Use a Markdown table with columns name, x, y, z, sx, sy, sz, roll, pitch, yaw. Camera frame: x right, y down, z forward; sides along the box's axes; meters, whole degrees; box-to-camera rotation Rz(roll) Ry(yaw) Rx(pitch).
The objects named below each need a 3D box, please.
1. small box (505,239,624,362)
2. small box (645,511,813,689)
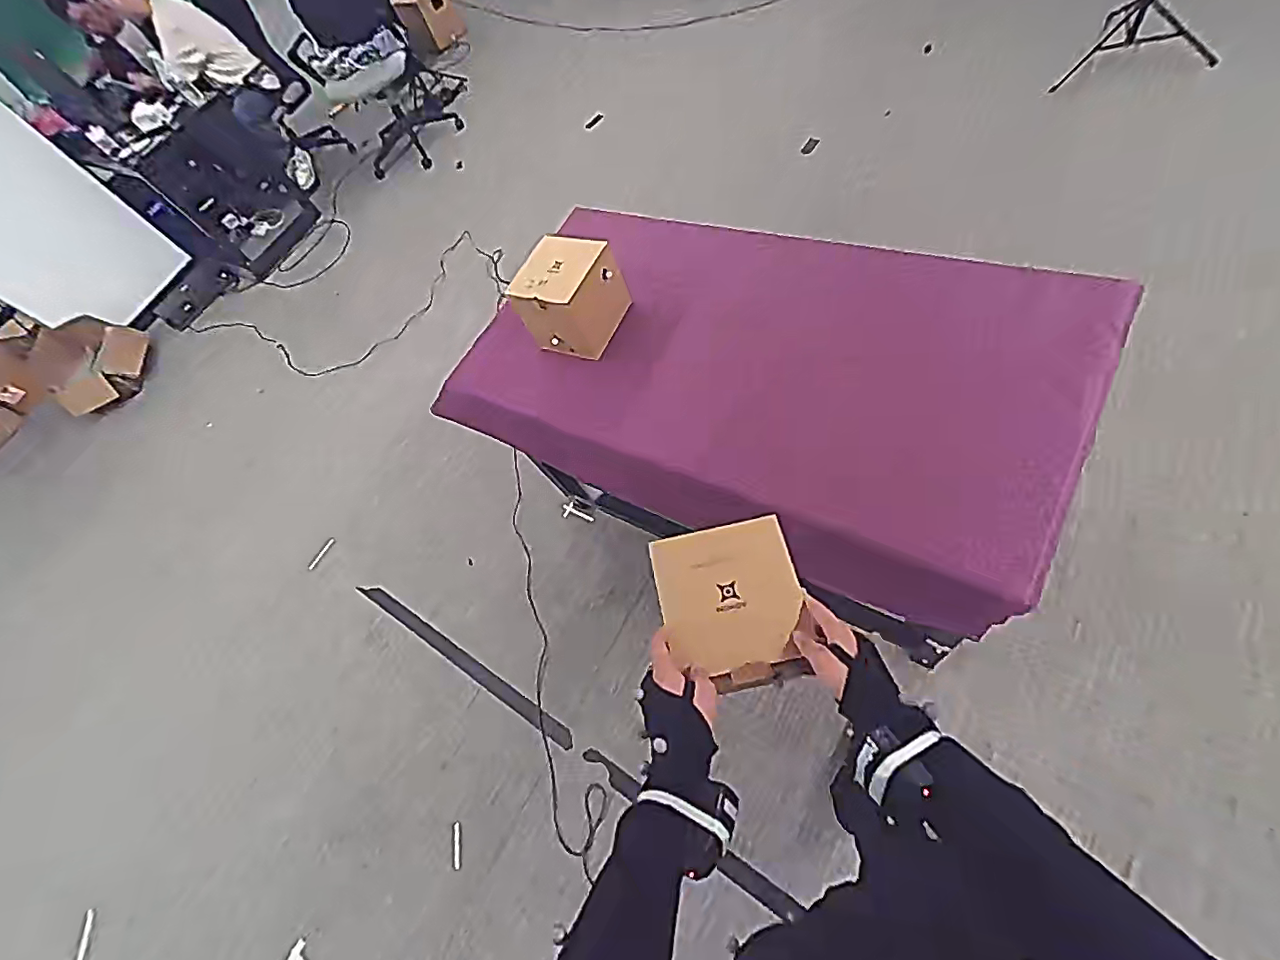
| name | x | y | z | sx | sy | sz | roll | pitch | yaw |
| --- | --- | --- | --- | --- | --- | --- | --- | --- | --- |
| small box | -0.151 | -0.385 | 1.166 | 0.168 | 0.176 | 0.179 | 18 | 70 | 27 |
| small box | 0.110 | 0.166 | 0.704 | 0.168 | 0.176 | 0.179 | -13 | 61 | 2 |
